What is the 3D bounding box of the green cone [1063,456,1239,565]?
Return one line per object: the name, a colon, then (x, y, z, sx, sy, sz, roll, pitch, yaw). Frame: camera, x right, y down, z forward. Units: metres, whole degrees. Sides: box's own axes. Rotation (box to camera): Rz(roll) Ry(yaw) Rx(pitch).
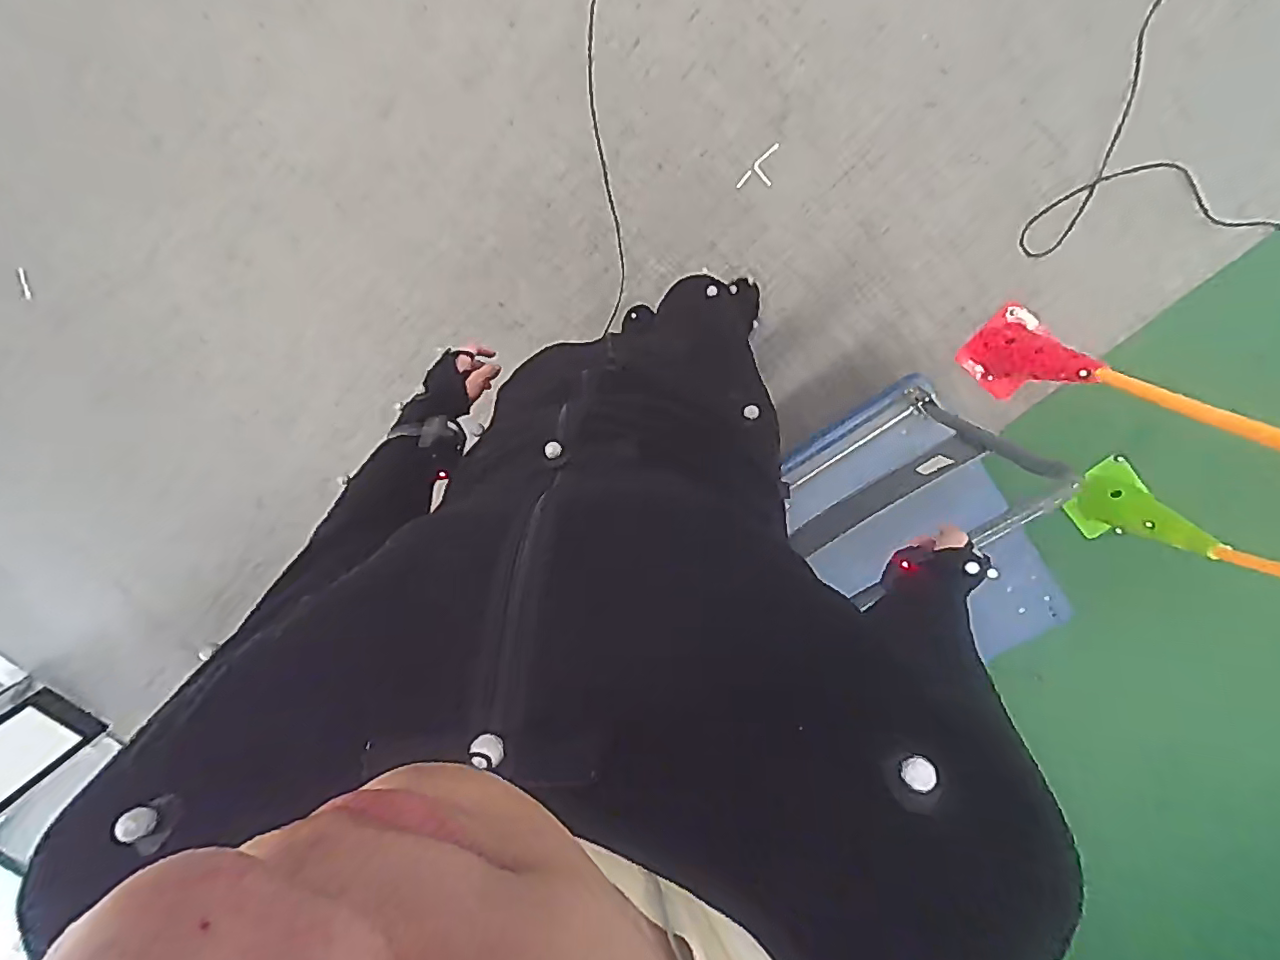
green cone: (1.337, 0.112, 1.388, 0.200, 0.368, 0.202, -43, 103, 17)
